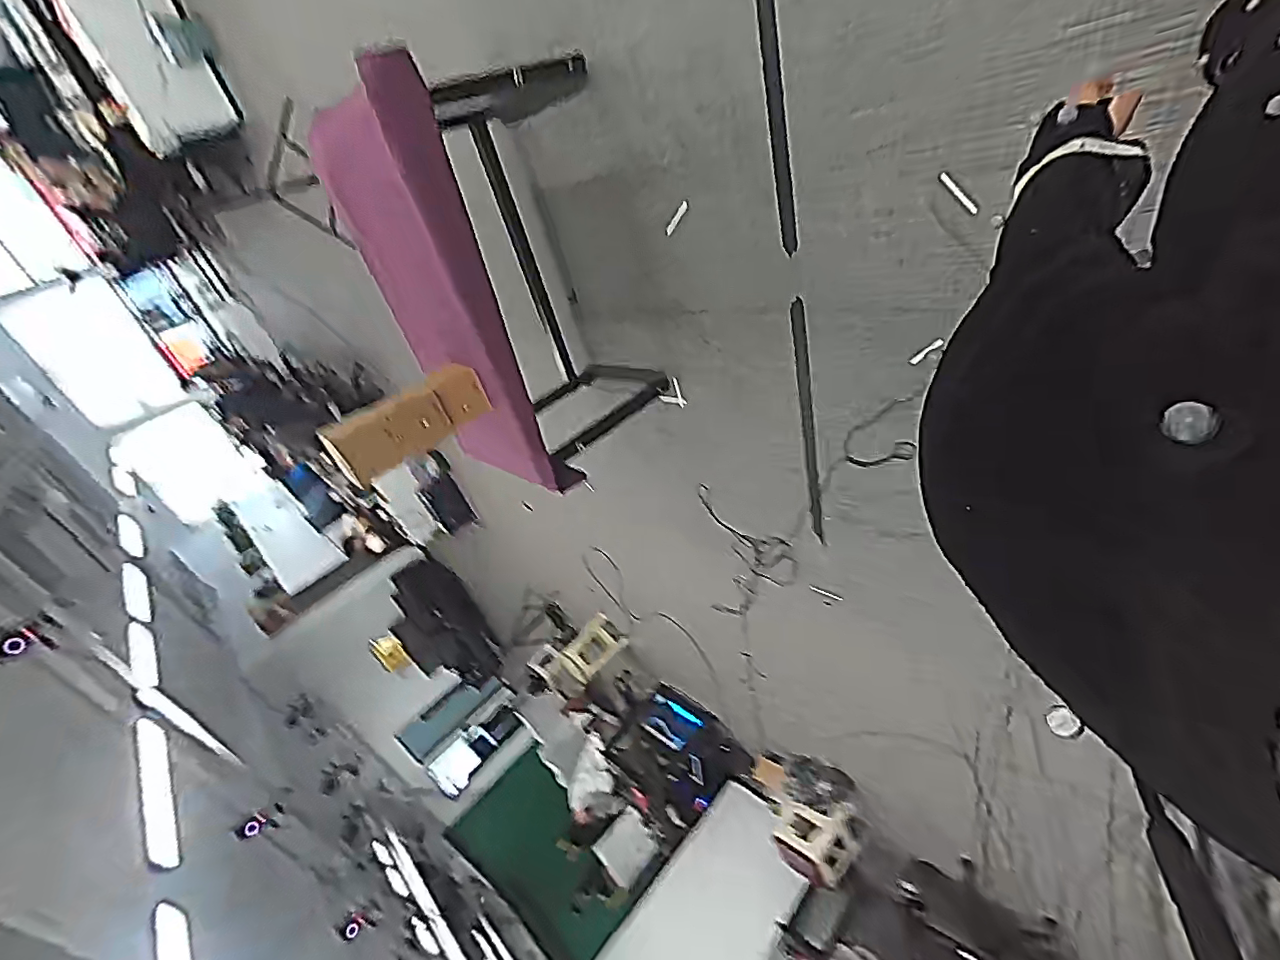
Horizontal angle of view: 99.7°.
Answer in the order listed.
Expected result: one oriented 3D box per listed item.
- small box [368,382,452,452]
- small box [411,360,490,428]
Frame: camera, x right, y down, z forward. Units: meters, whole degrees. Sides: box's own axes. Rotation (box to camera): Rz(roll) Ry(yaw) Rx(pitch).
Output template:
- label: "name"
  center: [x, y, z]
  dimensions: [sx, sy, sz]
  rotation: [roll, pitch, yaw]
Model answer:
- label: "small box"
  center: [-0.738, -0.209, 1.754]
  dimensions: [0.179, 0.176, 0.168]
  rotation: [13, 133, 47]
- label: "small box"
  center: [-0.641, -0.300, 1.852]
  dimensions: [0.179, 0.176, 0.168]
  rotation: [18, 137, 44]
